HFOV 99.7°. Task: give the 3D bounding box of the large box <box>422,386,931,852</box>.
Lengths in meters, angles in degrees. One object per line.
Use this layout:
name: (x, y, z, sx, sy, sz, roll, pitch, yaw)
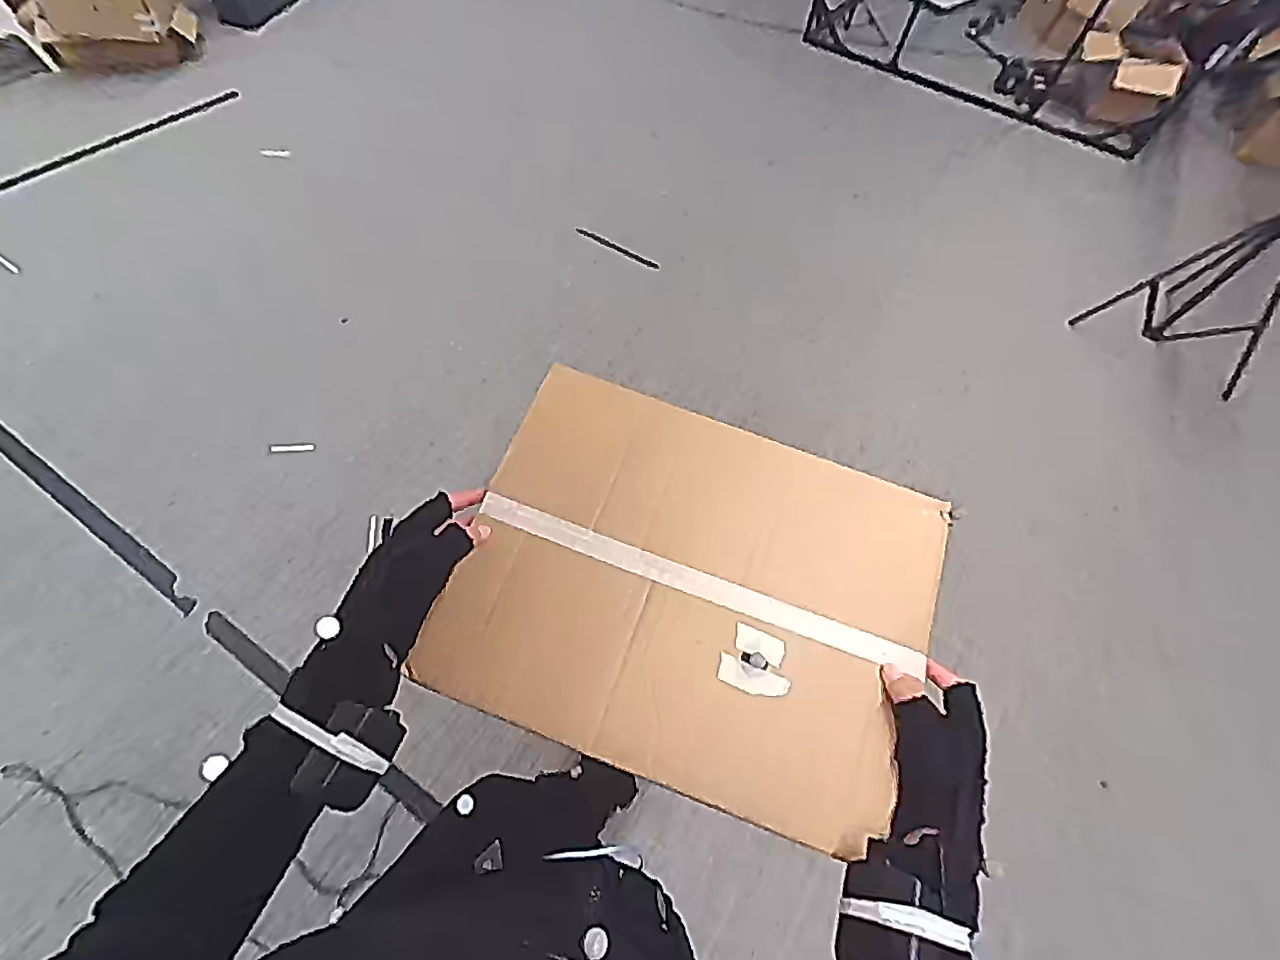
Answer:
large box: (0.041, 0.150, 0.631, 0.408, 0.320, 0.320, 21, 70, 4)
